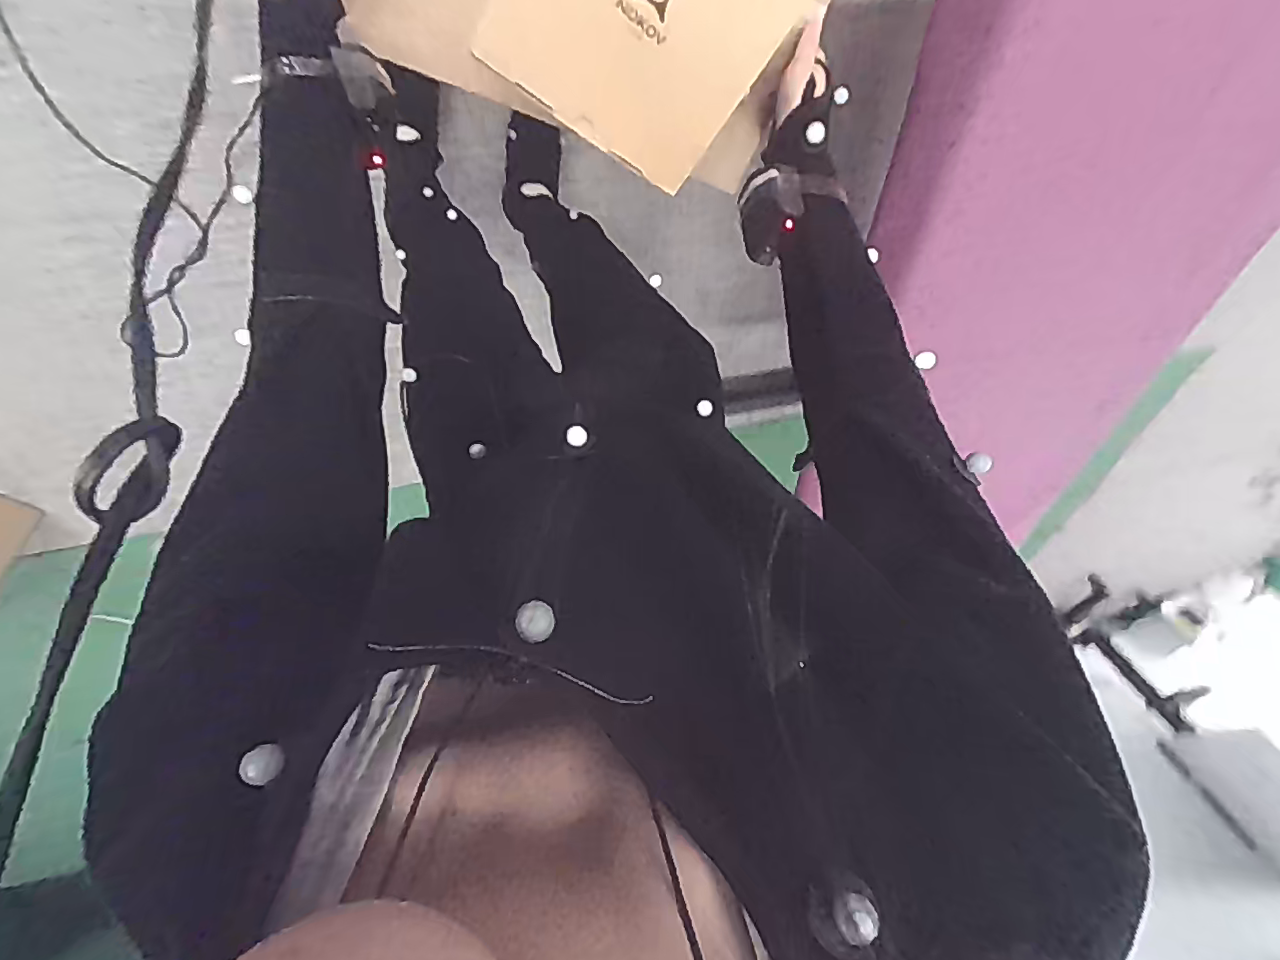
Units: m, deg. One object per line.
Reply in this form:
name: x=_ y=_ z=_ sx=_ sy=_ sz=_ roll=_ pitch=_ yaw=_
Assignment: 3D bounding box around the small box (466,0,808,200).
small box: x=-0.005 y=-0.346 z=0.370 sx=0.168 sy=0.176 sz=0.179 roll=19 pitch=135 yaw=-30
